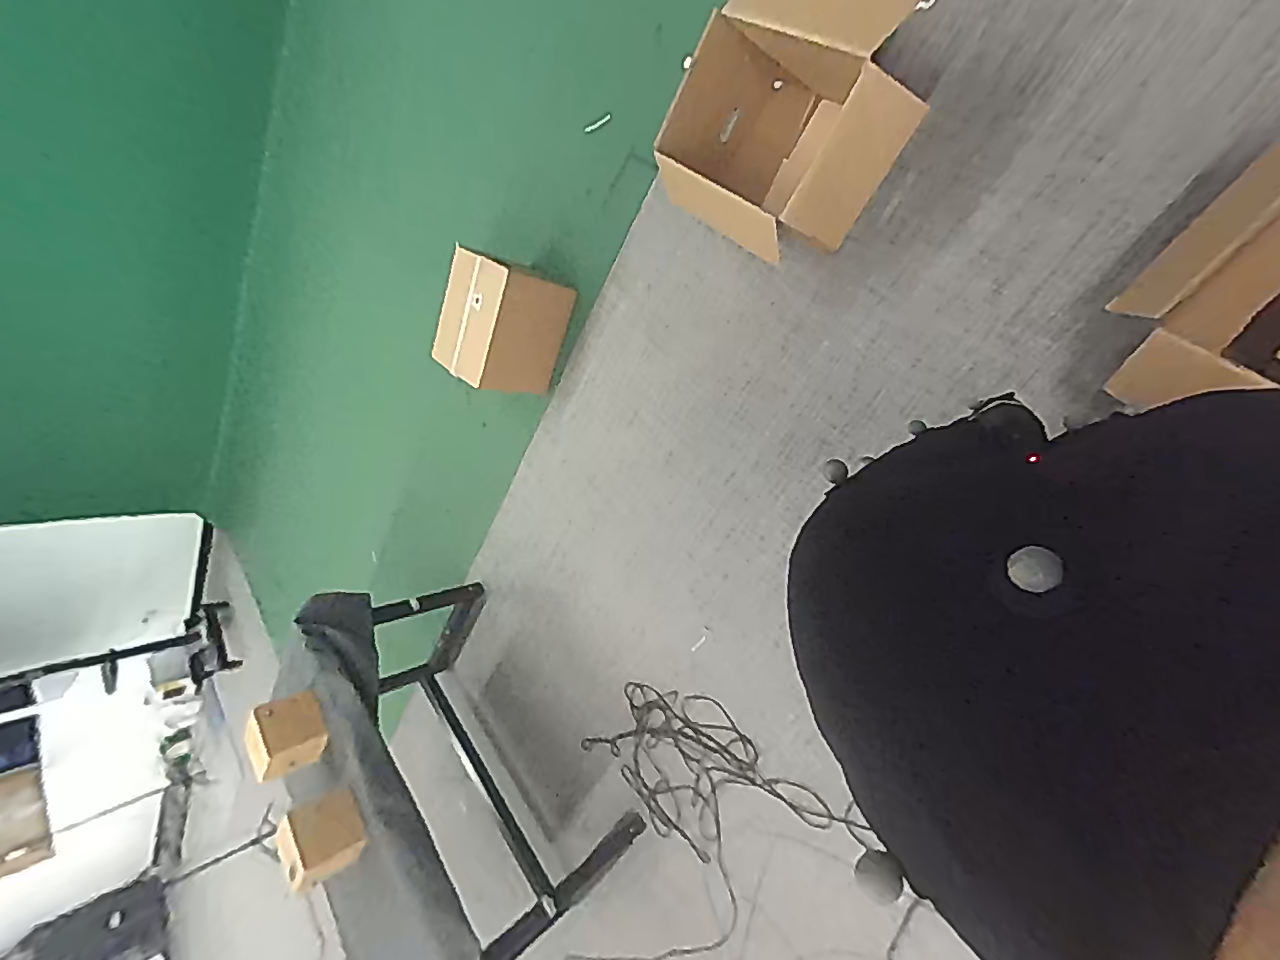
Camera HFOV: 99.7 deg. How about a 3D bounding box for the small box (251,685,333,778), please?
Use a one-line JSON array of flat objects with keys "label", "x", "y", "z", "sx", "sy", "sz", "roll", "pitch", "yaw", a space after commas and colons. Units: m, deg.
[{"label": "small box", "x": -1.090, "y": 0.780, "z": 1.696, "sx": 0.179, "sy": 0.176, "sz": 0.168, "roll": 48, "pitch": 121, "yaw": 26}]
